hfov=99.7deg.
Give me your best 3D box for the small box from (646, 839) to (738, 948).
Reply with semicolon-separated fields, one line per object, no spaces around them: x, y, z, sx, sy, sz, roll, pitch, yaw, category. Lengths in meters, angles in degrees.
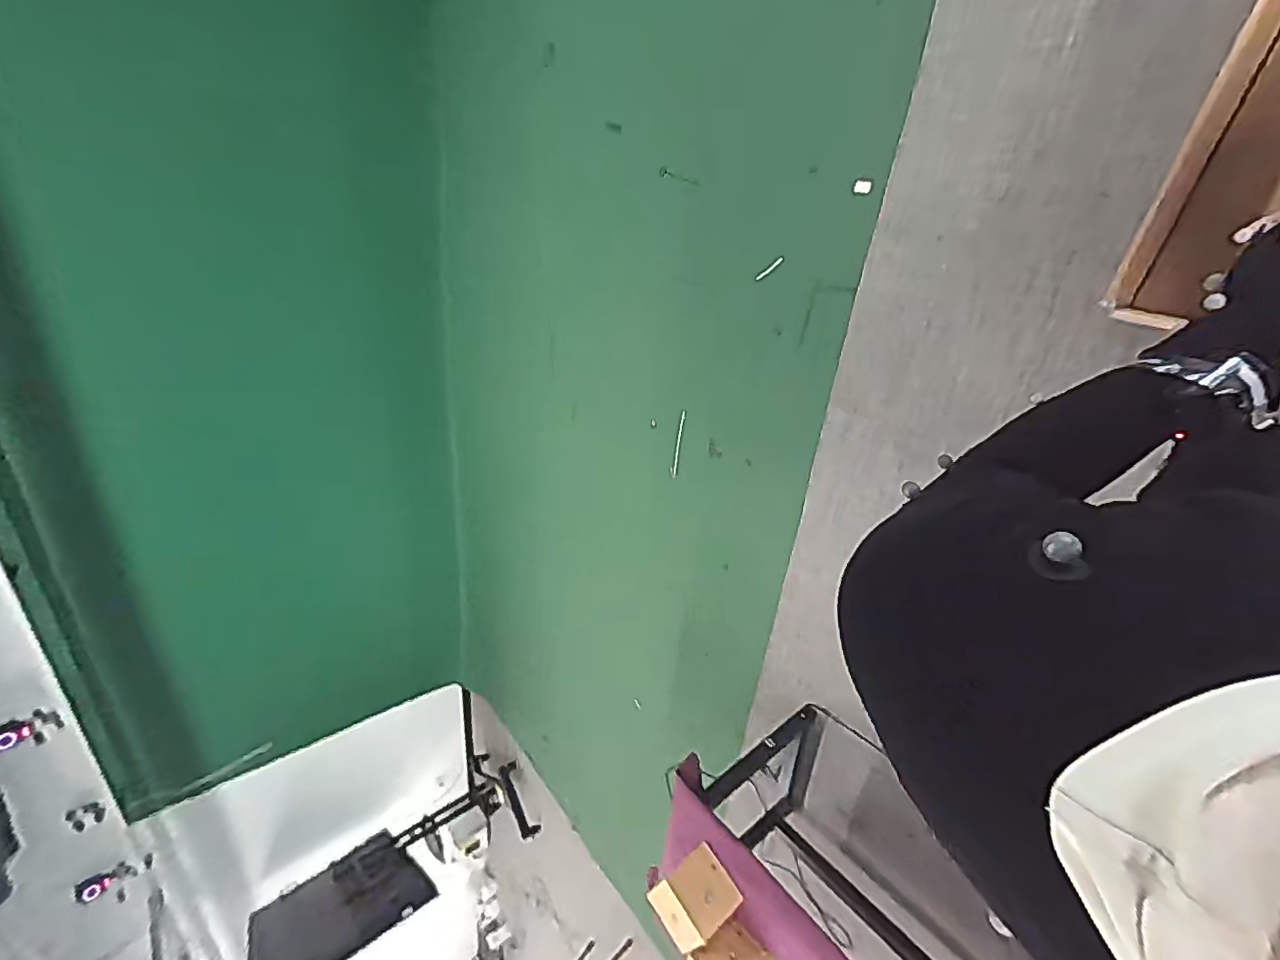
0.151;1.167;1.535;0.168;0.176;0.179;46;136;28;small box
